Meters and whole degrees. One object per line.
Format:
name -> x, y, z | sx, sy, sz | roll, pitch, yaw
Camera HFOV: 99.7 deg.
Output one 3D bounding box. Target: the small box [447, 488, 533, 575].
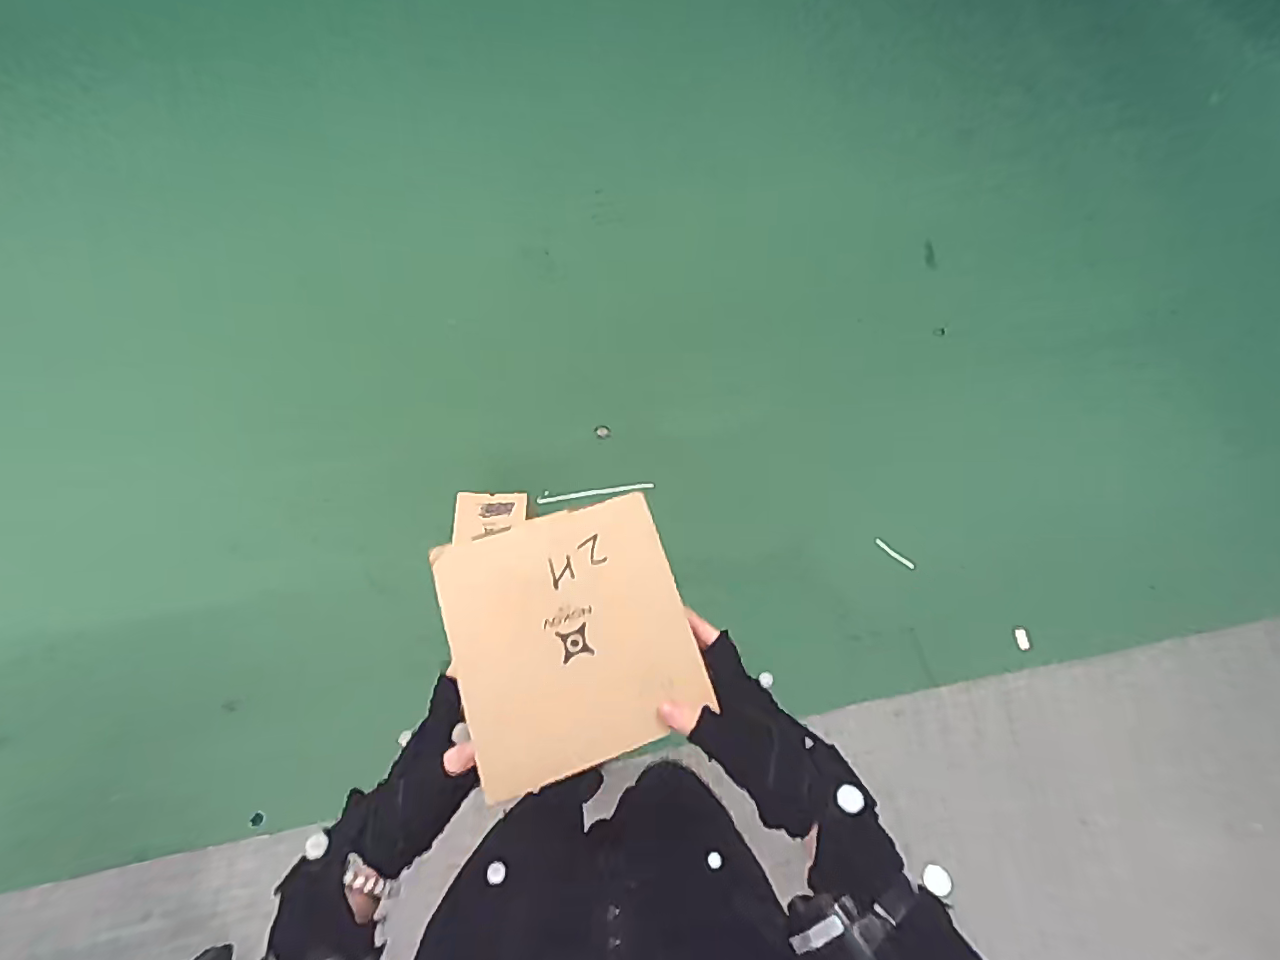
small box -> -0.355, 0.130, 1.315 | 0.168, 0.176, 0.179 | 1, 72, -3
